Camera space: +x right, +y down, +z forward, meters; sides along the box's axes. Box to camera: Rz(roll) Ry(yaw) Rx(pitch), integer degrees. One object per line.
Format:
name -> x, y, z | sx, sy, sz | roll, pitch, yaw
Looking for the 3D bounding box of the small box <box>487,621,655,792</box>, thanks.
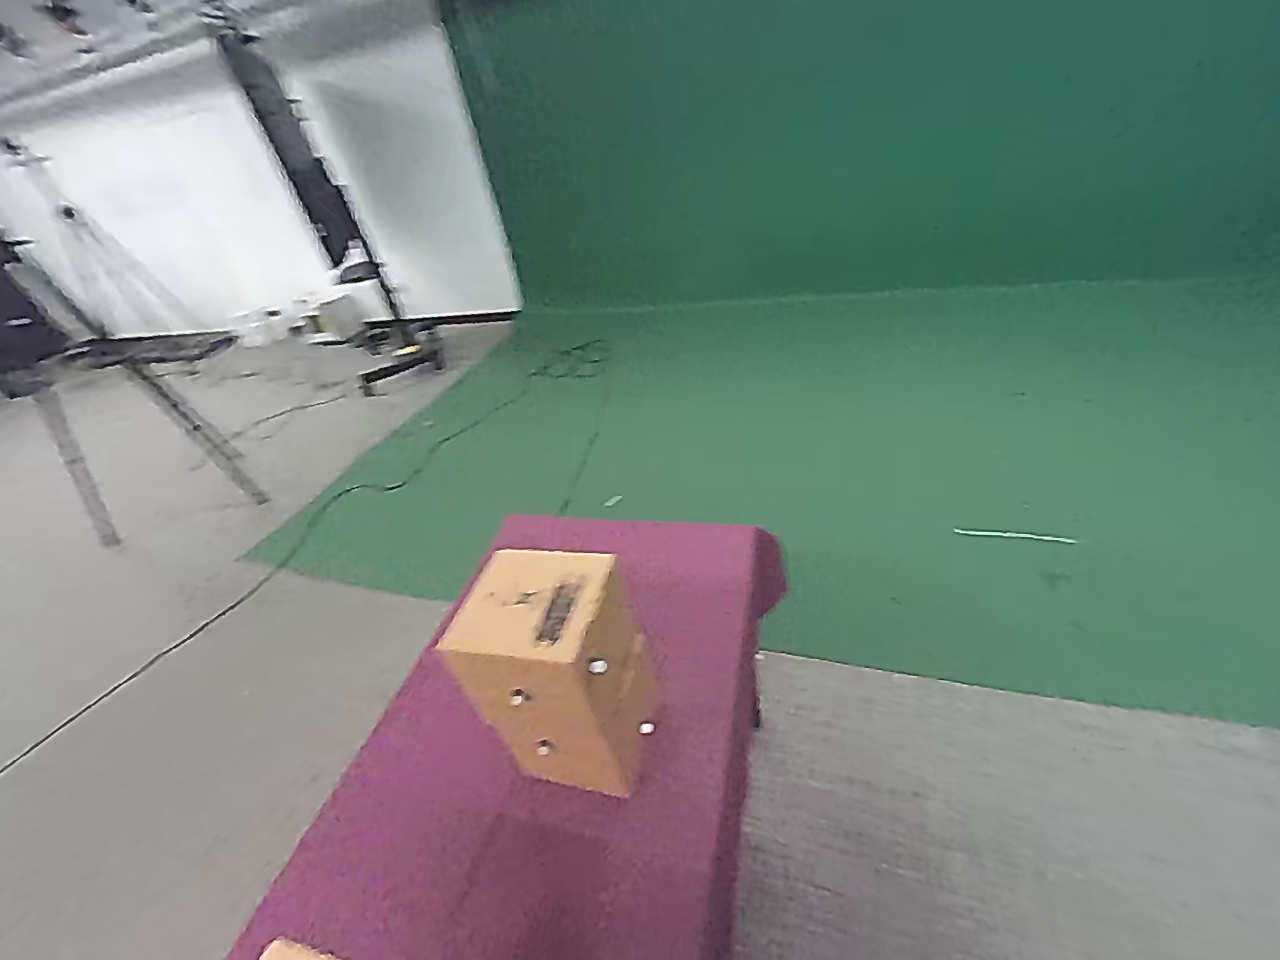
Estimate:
small box -> -0.091, 0.337, 0.810 | 0.179, 0.176, 0.168 | 2, 39, 19
